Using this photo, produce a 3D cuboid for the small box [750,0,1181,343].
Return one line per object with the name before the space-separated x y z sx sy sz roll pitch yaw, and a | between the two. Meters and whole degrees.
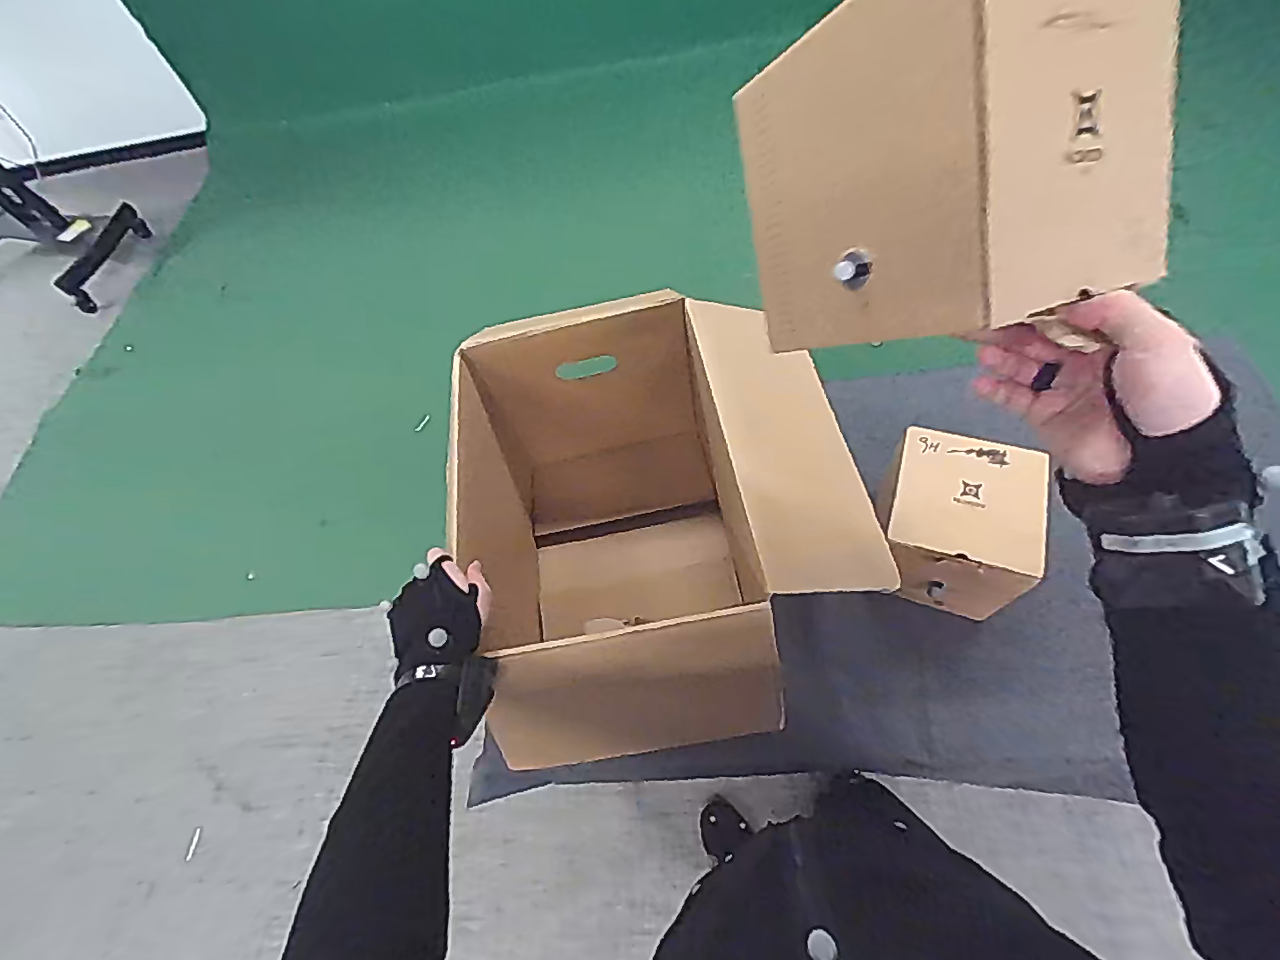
small box | 0.194 -0.190 0.349 0.168 0.179 0.176 -18 14 -22
